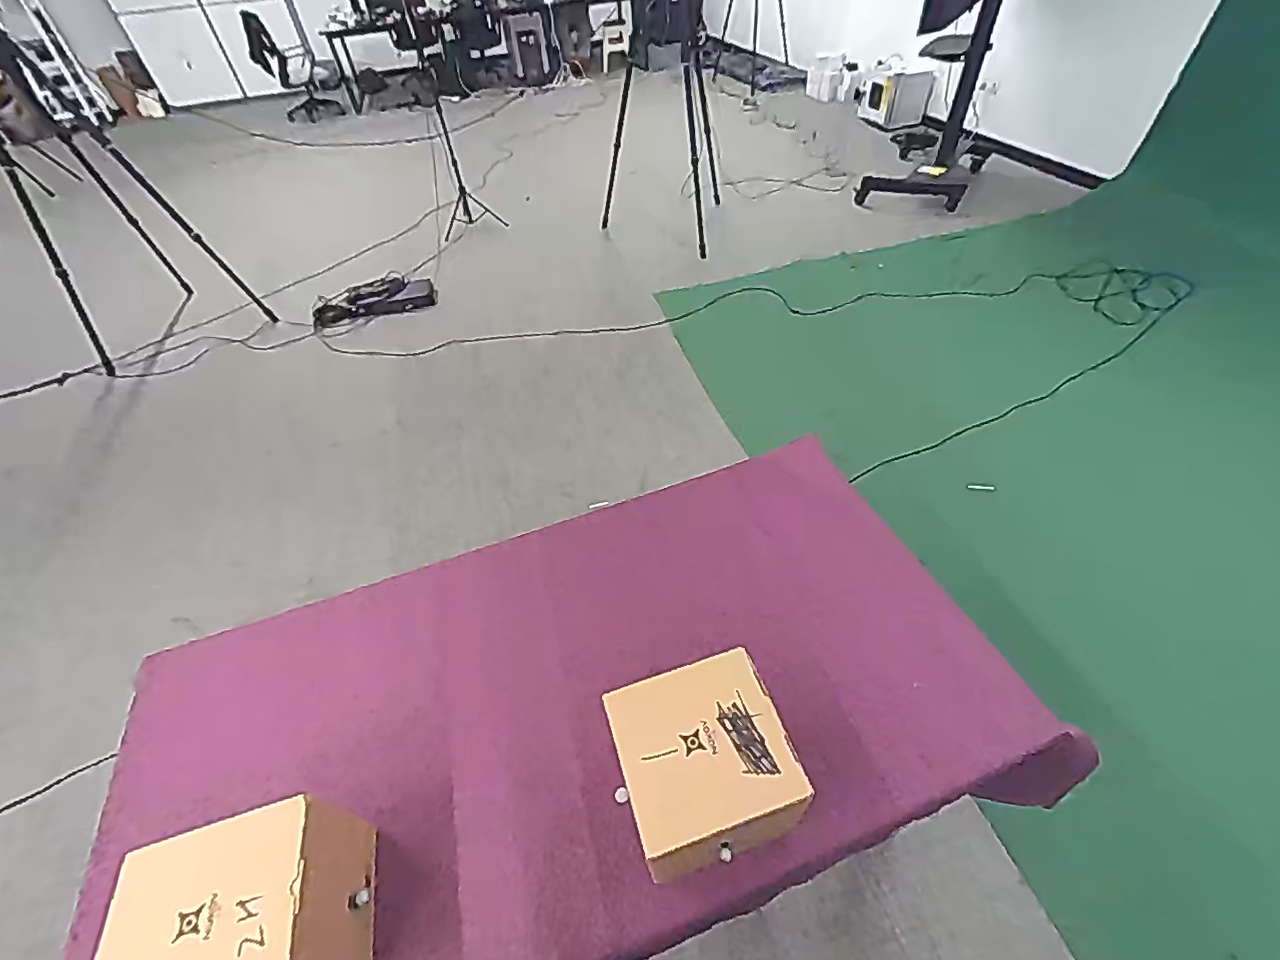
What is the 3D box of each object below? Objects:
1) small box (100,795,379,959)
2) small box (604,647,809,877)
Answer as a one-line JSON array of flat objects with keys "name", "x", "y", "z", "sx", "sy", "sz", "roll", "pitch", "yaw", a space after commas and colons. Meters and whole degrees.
[{"name": "small box", "x": -0.395, "y": 0.458, "z": 0.553, "sx": 0.179, "sy": 0.176, "sz": 0.168, "roll": -15, "pitch": 47, "yaw": -9}, {"name": "small box", "x": 0.069, "y": 0.328, "z": 0.628, "sx": 0.179, "sy": 0.176, "sz": 0.168, "roll": -16, "pitch": 47, "yaw": -8}]
